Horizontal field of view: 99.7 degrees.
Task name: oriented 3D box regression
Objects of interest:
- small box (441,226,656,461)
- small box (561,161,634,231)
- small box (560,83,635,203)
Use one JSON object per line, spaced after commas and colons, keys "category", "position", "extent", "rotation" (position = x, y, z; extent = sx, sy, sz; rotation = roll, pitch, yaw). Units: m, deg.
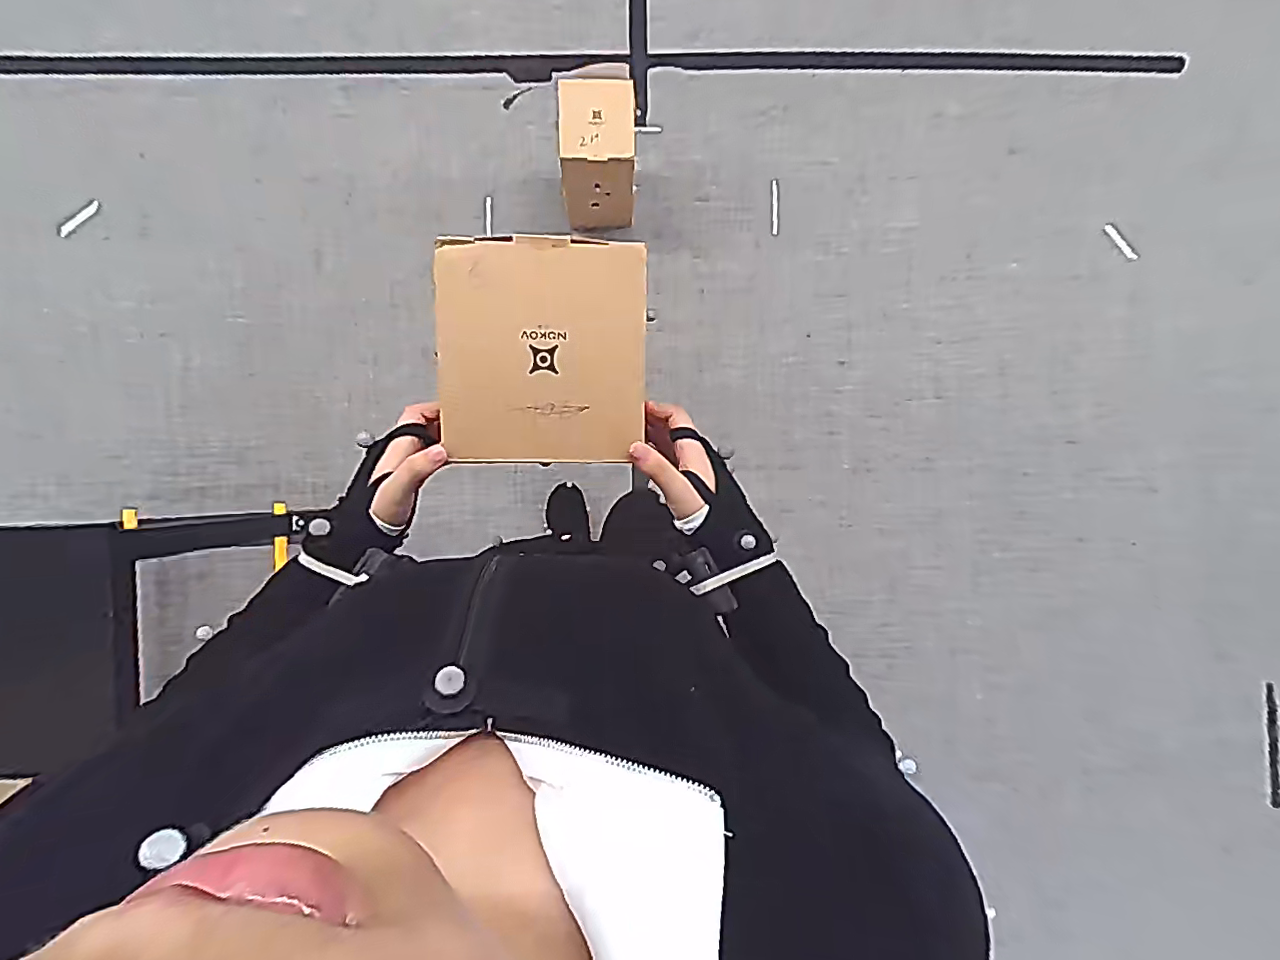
{"category": "small box", "position": [-0.078, -0.113, 0.500], "extent": [0.168, 0.176, 0.179], "rotation": [1, 99, -4]}
{"category": "small box", "position": [-0.110, -0.772, 1.418], "extent": [0.179, 0.176, 0.168], "rotation": [-5, 90, -3]}
{"category": "small box", "position": [-0.097, -0.774, 1.253], "extent": [0.168, 0.176, 0.179], "rotation": [-1, 90, -3]}
